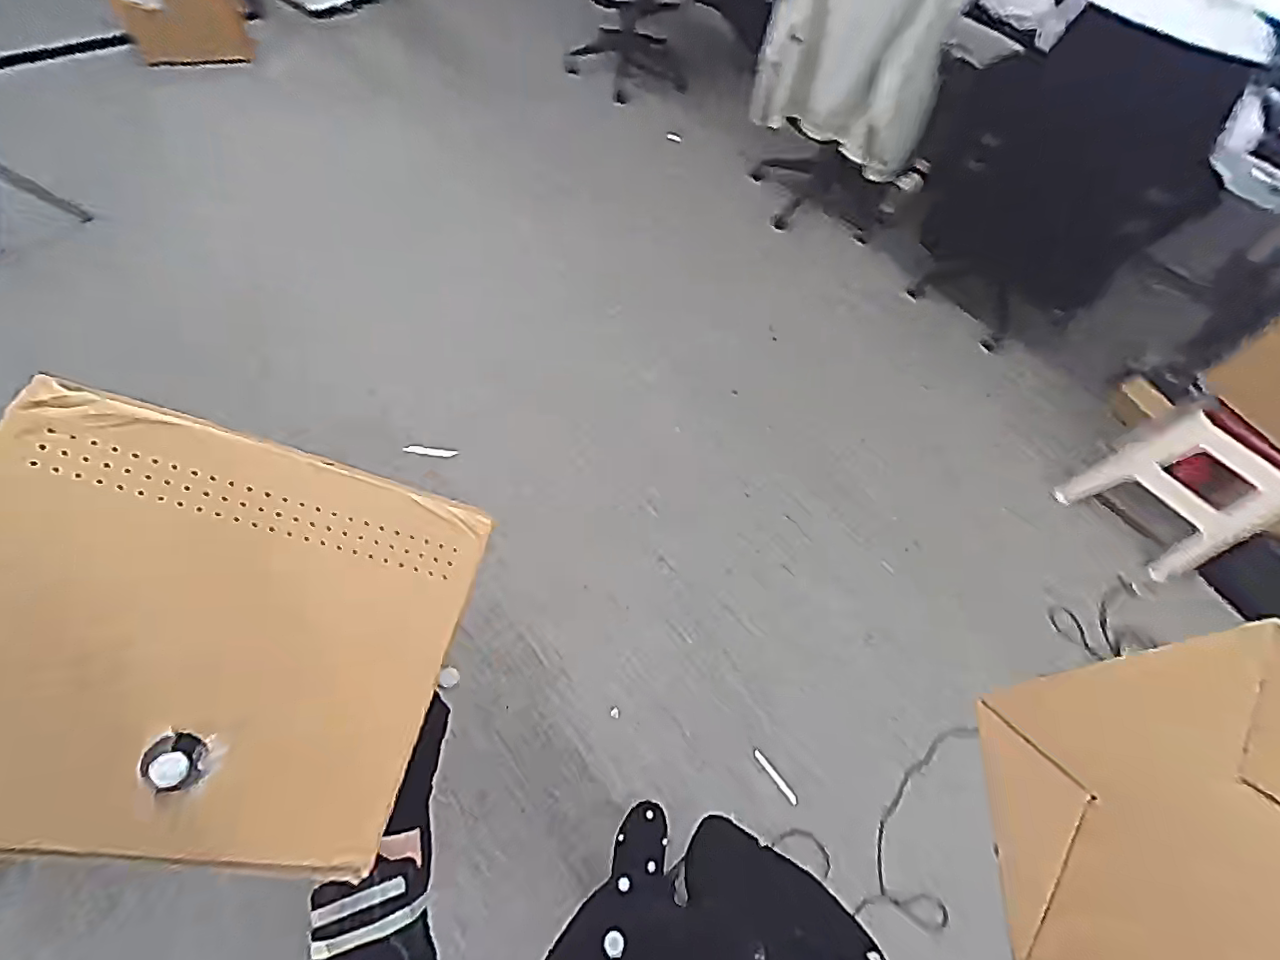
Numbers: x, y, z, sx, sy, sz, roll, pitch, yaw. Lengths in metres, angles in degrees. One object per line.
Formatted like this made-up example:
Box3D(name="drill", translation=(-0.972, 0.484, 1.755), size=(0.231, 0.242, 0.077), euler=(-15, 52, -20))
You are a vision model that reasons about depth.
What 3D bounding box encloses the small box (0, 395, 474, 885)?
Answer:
Box3D(name="small box", translation=(-0.202, 0.070, 0.288), size=(0.179, 0.168, 0.176), euler=(20, 80, -20))
